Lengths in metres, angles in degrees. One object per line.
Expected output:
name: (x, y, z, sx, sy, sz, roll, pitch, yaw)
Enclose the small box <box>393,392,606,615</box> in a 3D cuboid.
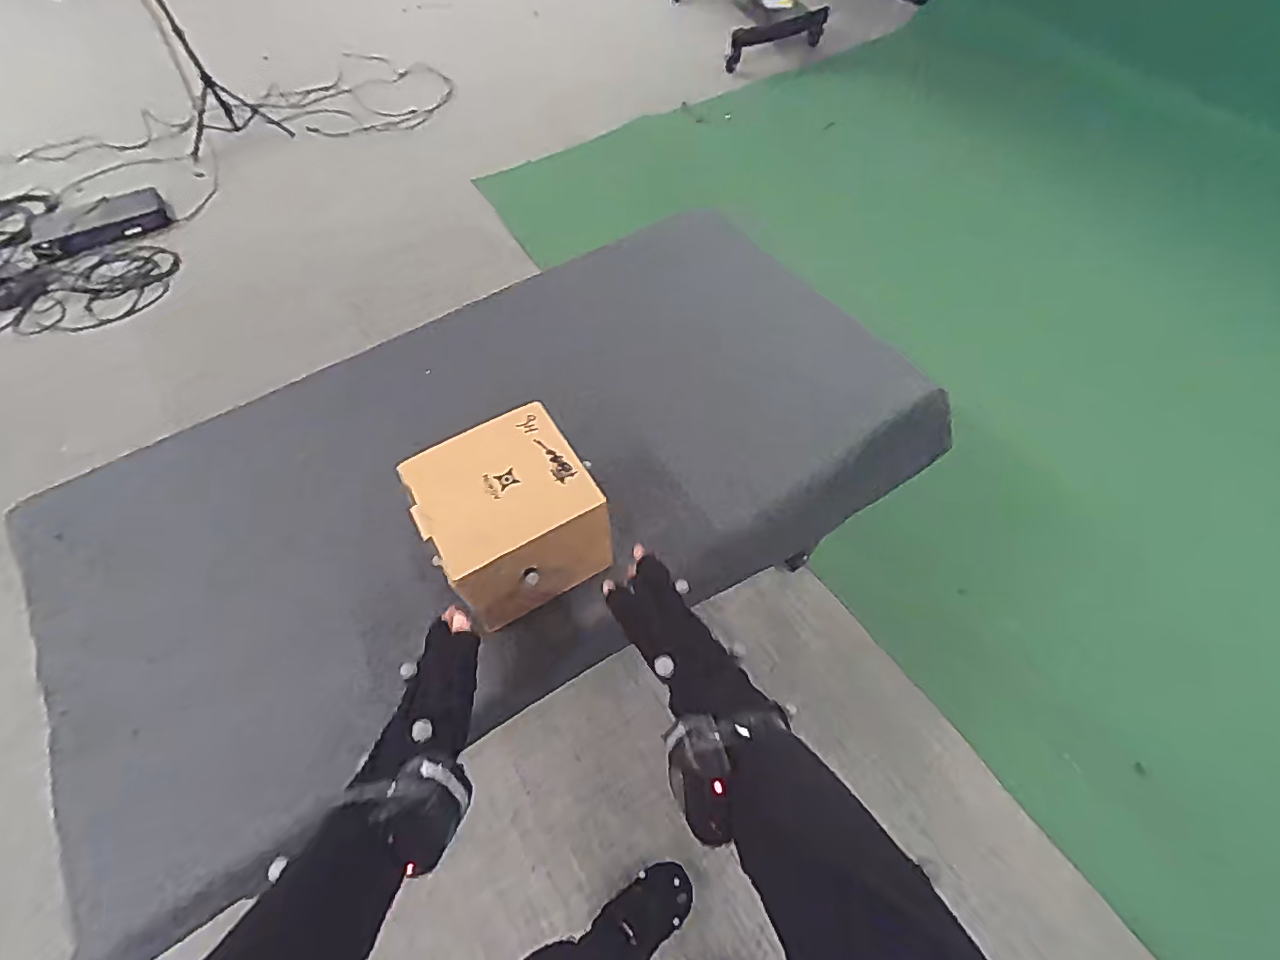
small box: (-0.155, 0.035, 0.646, 0.179, 0.176, 0.168, -29, 63, -14)
